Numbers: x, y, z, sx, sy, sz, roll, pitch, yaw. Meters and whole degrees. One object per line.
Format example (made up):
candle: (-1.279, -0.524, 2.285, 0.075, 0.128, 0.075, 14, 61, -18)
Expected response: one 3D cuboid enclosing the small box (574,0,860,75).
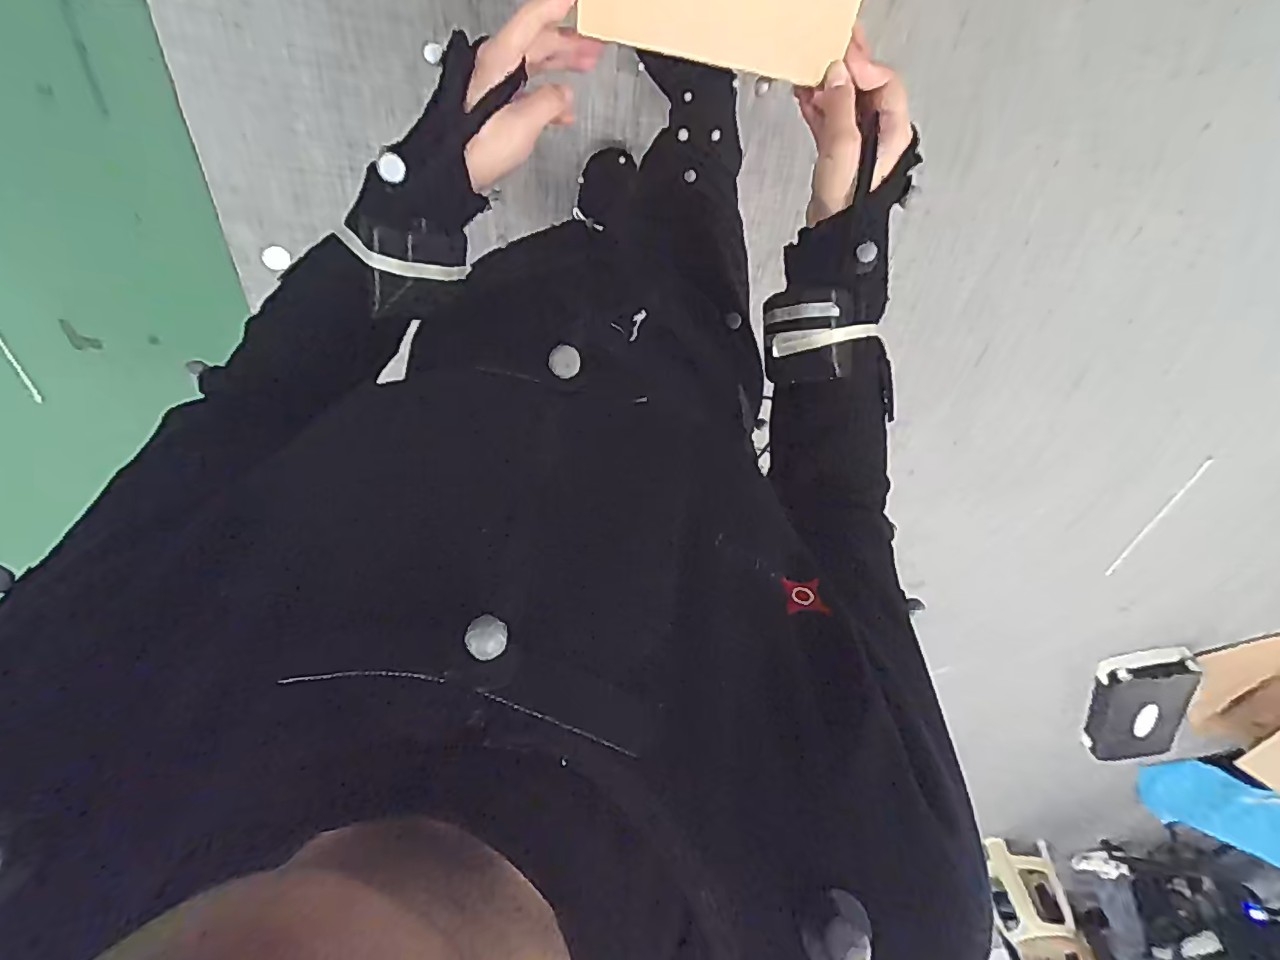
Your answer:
small box: (0.050, -0.387, 0.345, 0.179, 0.176, 0.168, 2, 135, -11)
